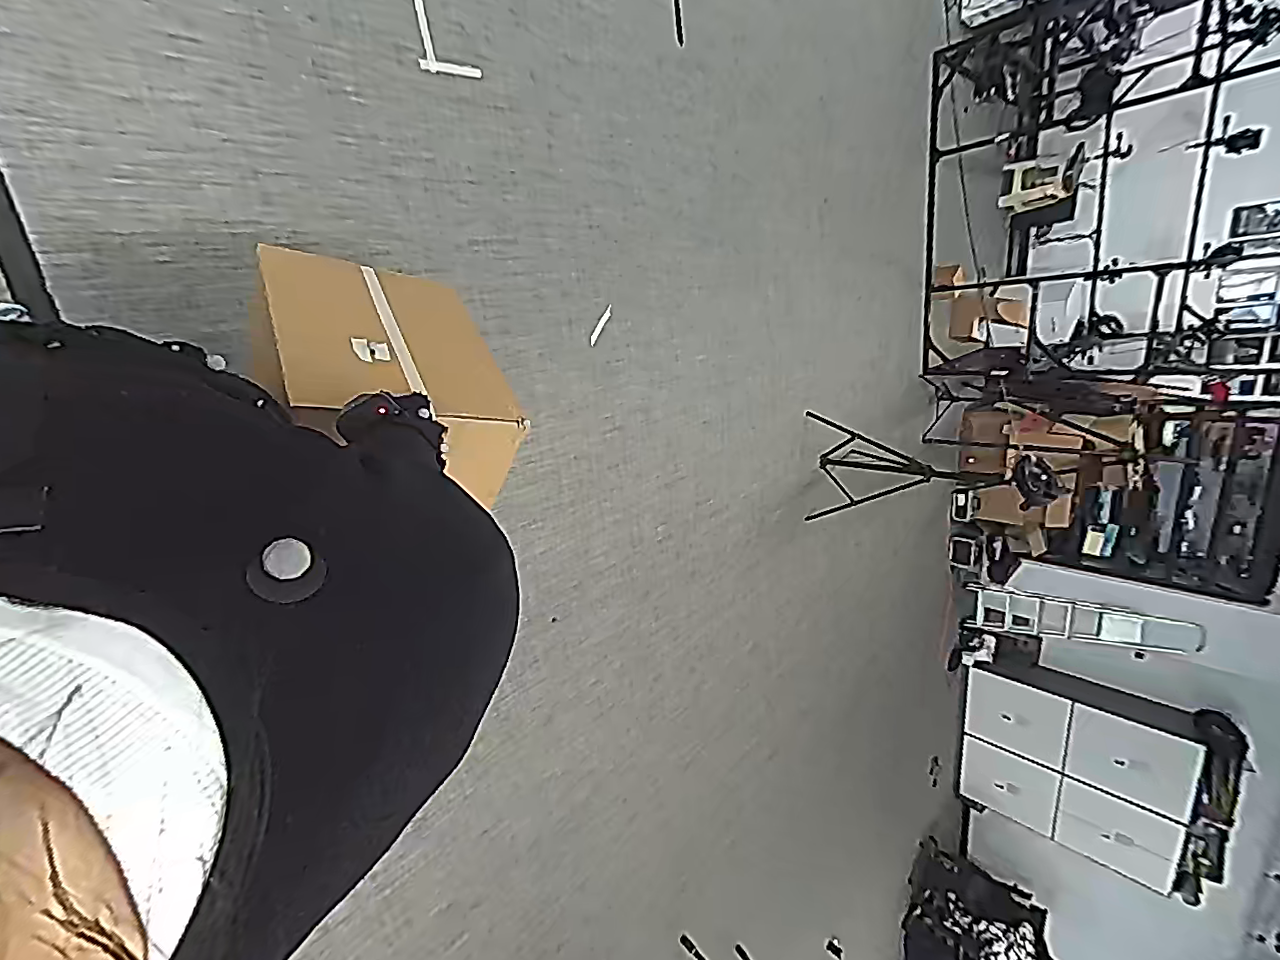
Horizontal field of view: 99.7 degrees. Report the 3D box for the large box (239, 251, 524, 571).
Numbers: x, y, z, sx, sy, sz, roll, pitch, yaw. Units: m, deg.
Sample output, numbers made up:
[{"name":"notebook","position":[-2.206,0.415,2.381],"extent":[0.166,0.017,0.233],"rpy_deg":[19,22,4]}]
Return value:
[{"name":"large box","position":[-0.456,-0.111,0.913],"extent":[0.320,0.408,0.320],"rpy_deg":[-2,137,-41]}]
